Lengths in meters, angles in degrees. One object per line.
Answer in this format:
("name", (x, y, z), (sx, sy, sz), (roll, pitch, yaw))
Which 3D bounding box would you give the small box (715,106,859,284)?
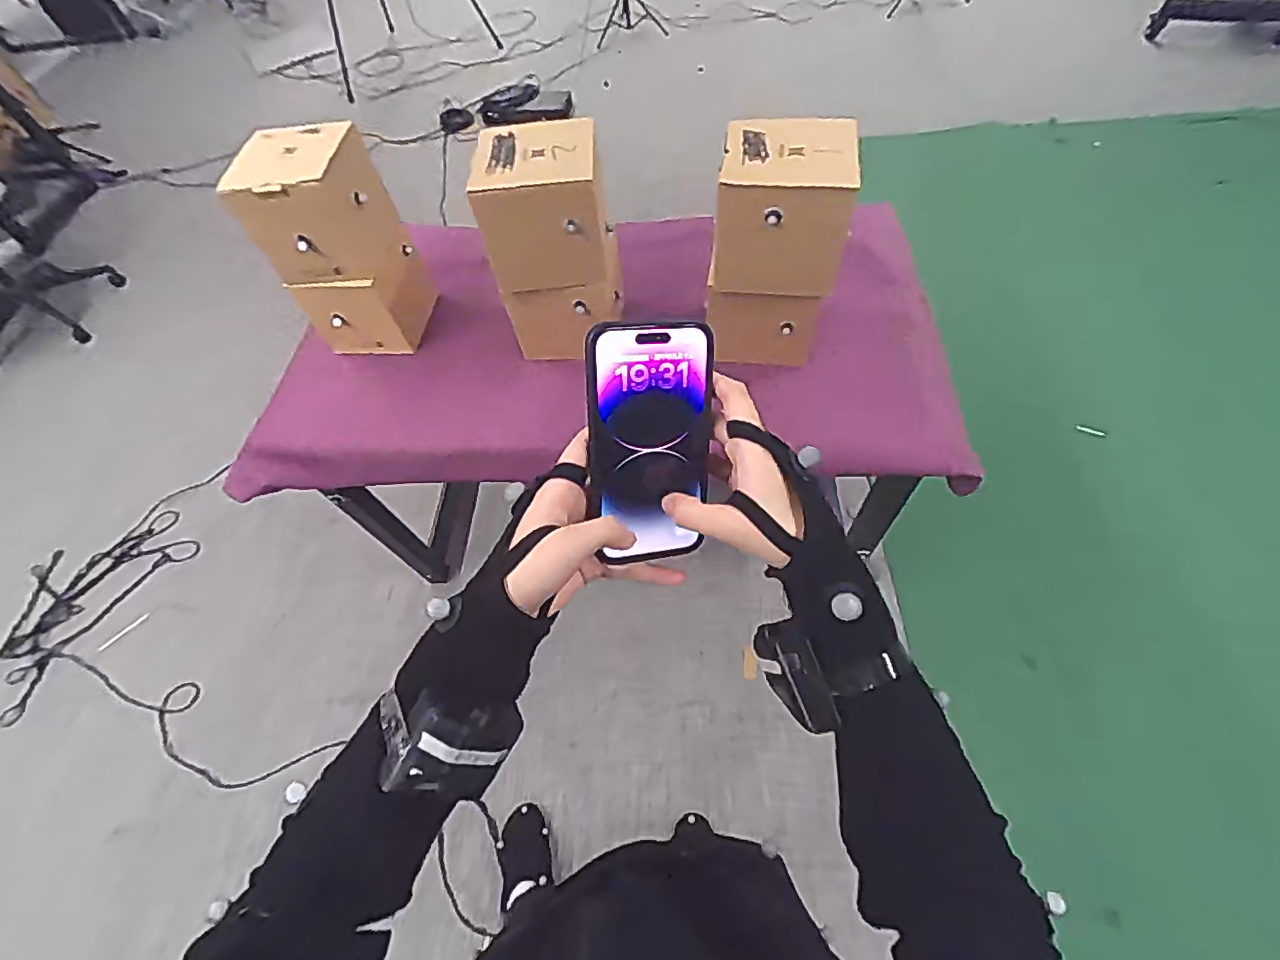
("small box", (0.201, -0.401, 0.773), (0.179, 0.176, 0.168), (6, 59, 10))

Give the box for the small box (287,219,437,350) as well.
("small box", (-0.512, -0.364, 1.028), (0.168, 0.176, 0.179), (1, 59, 7))

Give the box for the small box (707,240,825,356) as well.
("small box", (0.211, -0.330, 0.920), (0.179, 0.176, 0.168), (5, 59, 11))

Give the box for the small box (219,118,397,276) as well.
("small box", (-0.529, -0.456, 0.893), (0.168, 0.176, 0.179), (-3, 59, 4))

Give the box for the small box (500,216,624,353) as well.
("small box", (-0.126, -0.344, 0.968), (0.179, 0.176, 0.168), (0, 59, 7))
